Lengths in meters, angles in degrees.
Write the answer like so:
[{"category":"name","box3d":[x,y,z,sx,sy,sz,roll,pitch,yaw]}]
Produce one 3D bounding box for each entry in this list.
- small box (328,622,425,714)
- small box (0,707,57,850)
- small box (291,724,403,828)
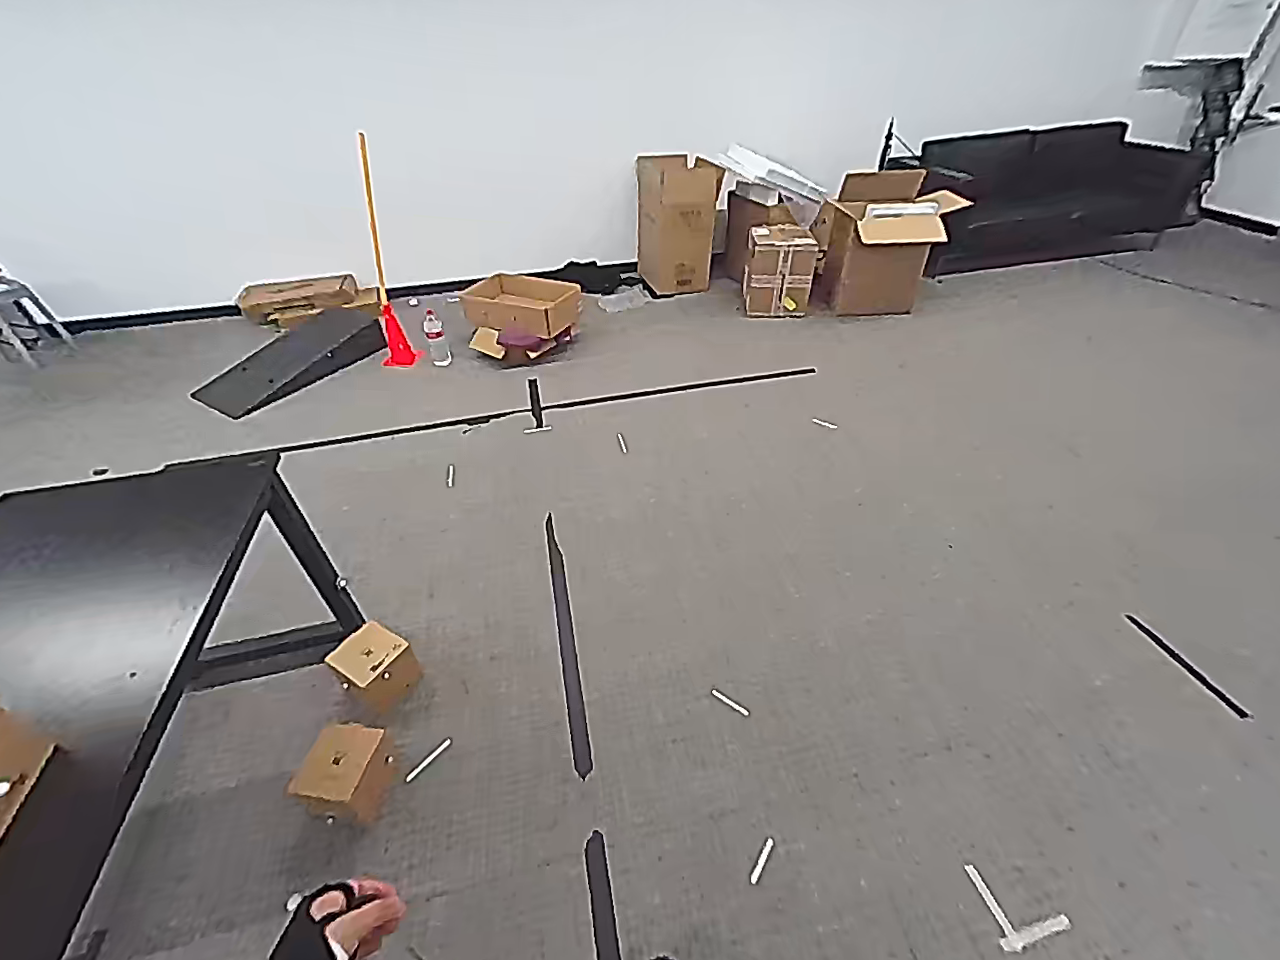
[{"category":"small box","box3d":[-0.783,0.566,1.617,0.179,0.176,0.168,19,45,24]},{"category":"small box","box3d":[-0.931,0.401,0.683,0.179,0.176,0.168,-10,40,-9]},{"category":"small box","box3d":[-0.736,0.758,1.388,0.168,0.176,0.179,3,41,8]}]
